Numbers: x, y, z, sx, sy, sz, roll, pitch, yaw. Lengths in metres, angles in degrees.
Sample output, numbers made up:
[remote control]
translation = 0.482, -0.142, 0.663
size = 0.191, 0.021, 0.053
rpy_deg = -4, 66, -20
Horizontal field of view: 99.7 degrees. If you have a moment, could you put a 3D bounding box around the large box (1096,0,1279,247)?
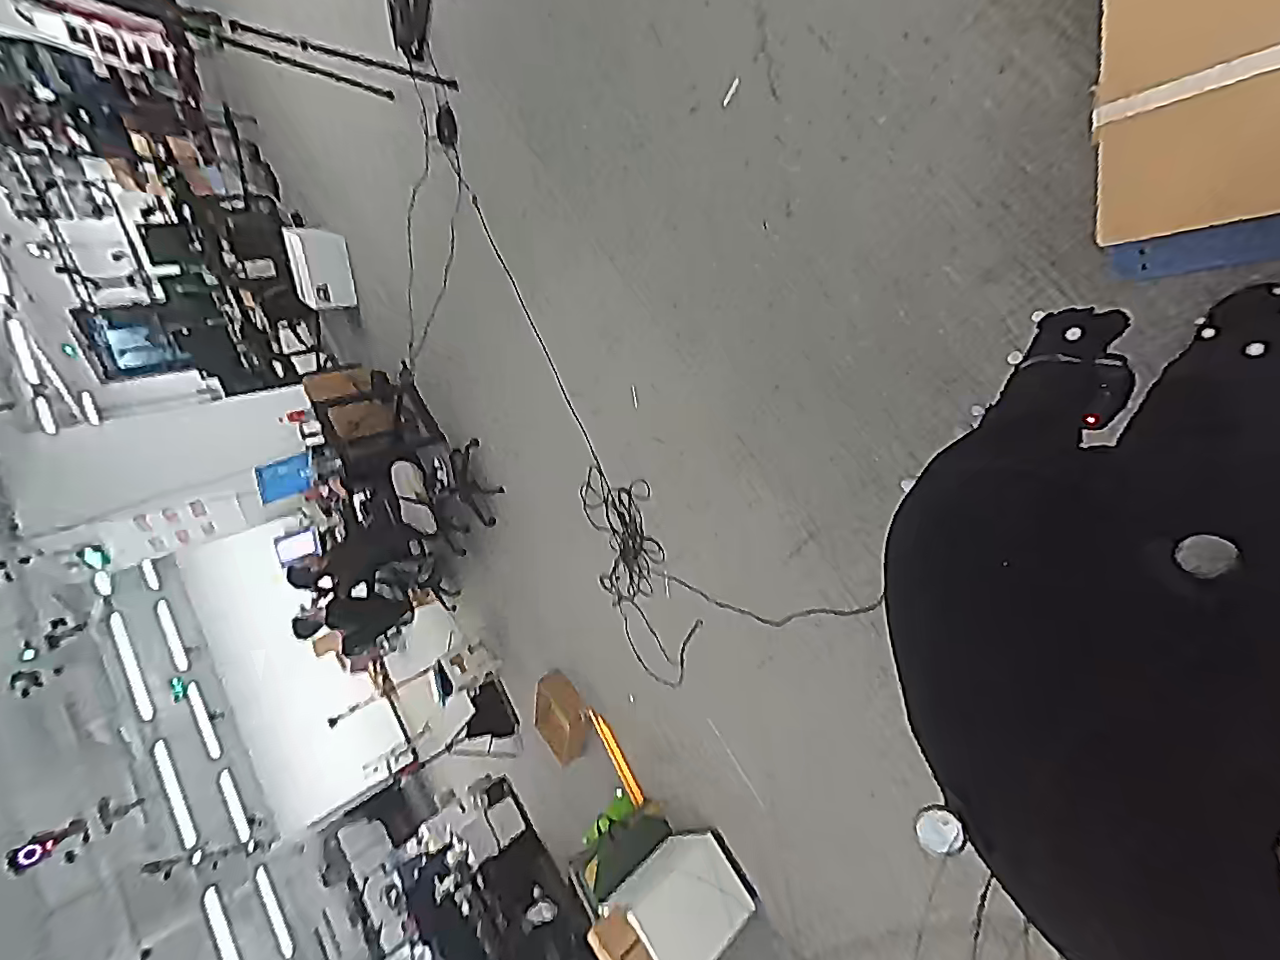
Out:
[large box]
translation = 0.812, -0.481, 0.620
size = 0.408, 0.320, 0.320
rpy_deg = 6, 111, 49
